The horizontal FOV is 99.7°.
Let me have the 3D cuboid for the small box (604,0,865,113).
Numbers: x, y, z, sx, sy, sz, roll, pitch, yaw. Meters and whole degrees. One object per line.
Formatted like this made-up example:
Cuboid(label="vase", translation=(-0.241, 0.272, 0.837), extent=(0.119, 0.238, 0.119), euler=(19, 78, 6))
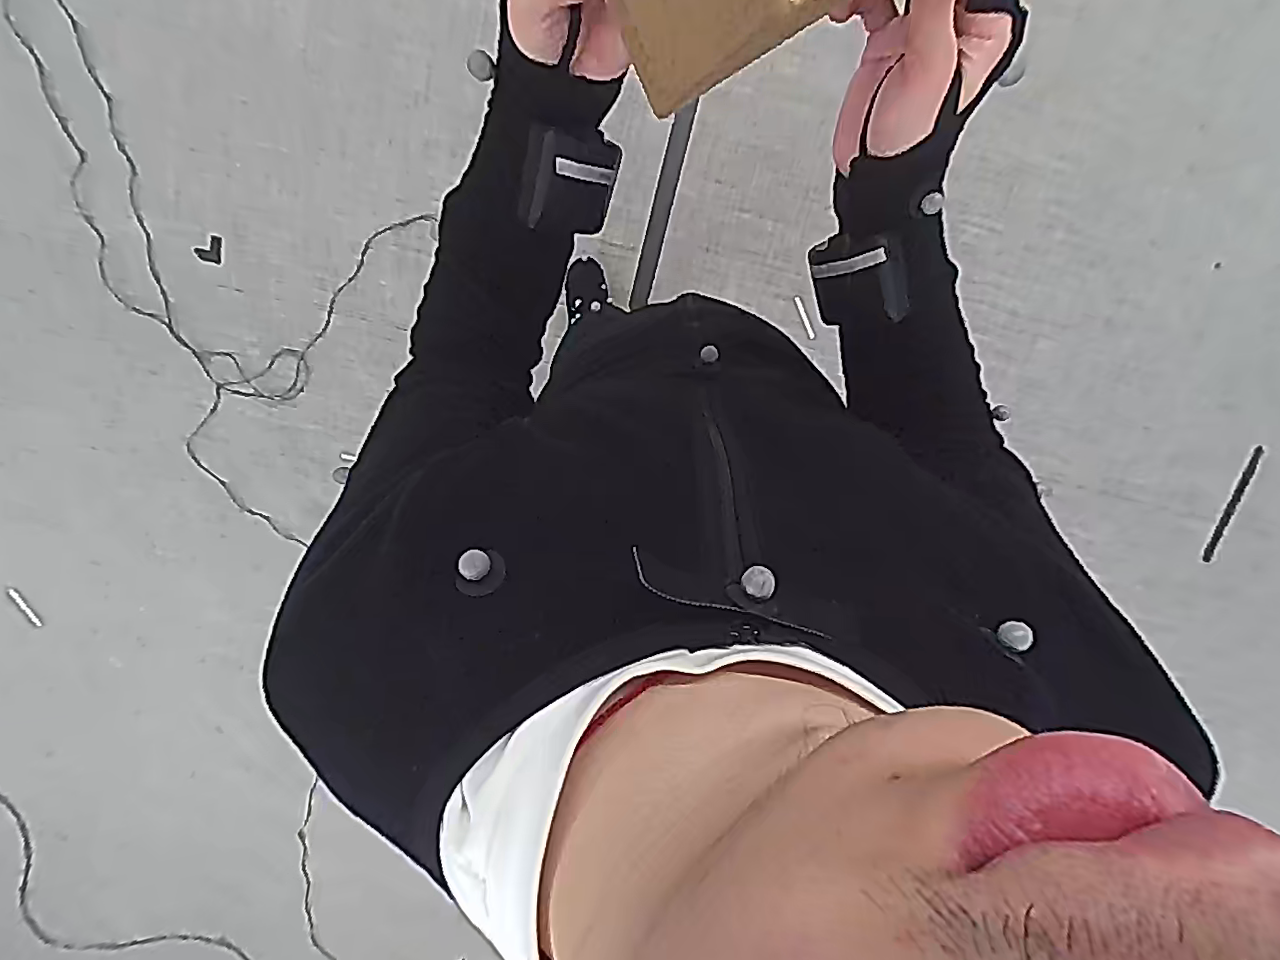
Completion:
Cuboid(label="small box", translation=(0.059, -0.258, 0.172), extent=(0.179, 0.176, 0.168), euler=(-31, 117, 6))
